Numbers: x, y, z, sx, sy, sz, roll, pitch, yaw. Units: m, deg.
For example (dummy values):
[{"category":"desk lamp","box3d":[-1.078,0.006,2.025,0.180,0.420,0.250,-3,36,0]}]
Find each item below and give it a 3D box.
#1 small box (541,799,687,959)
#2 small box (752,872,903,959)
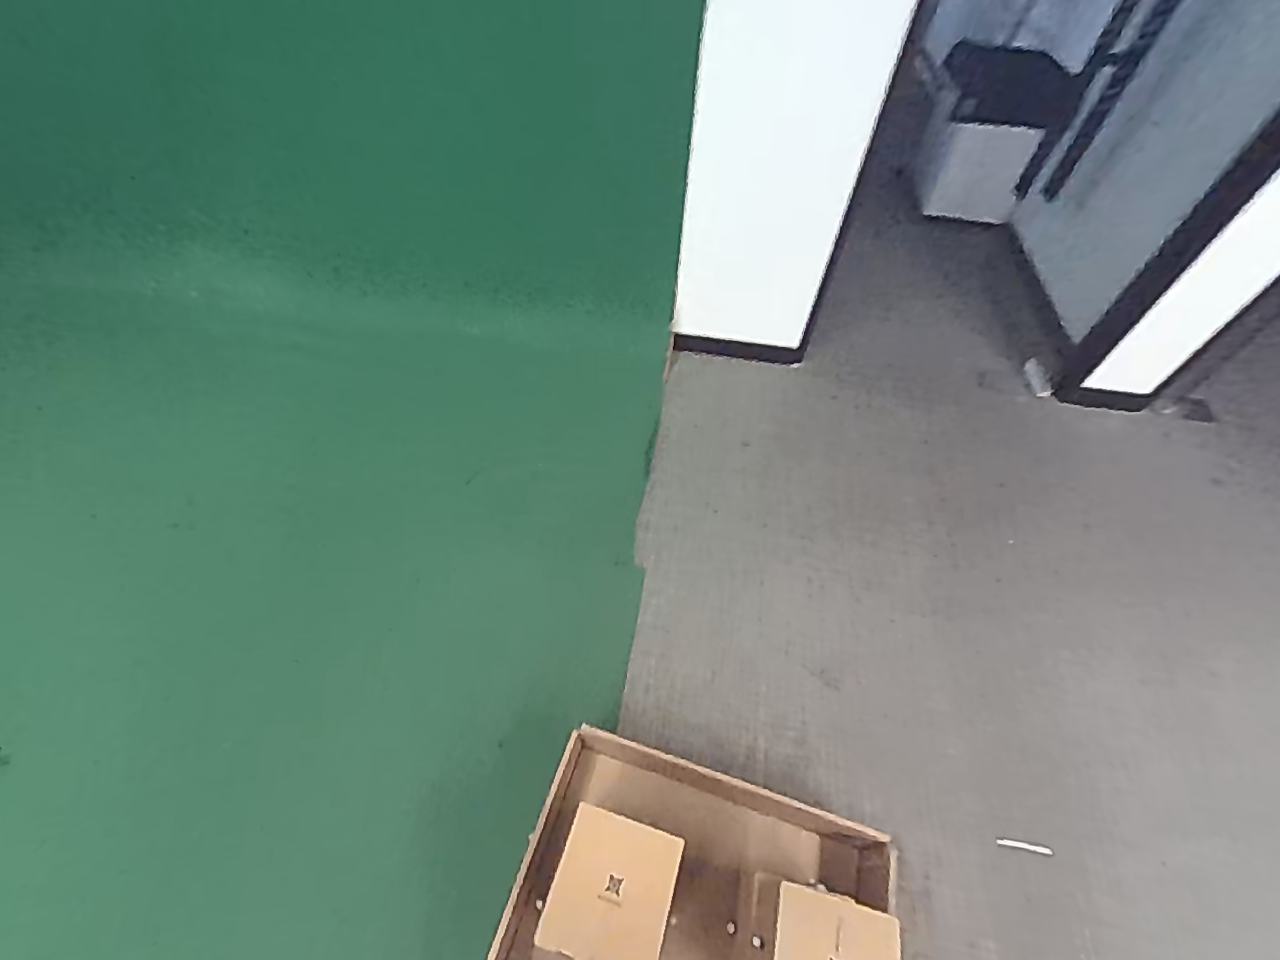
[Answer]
[{"category":"small box","box3d":[-0.035,0.616,0.823,0.168,0.176,0.179,15,56,9]},{"category":"small box","box3d":[0.259,0.690,0.771,0.168,0.176,0.179,13,54,8]}]
